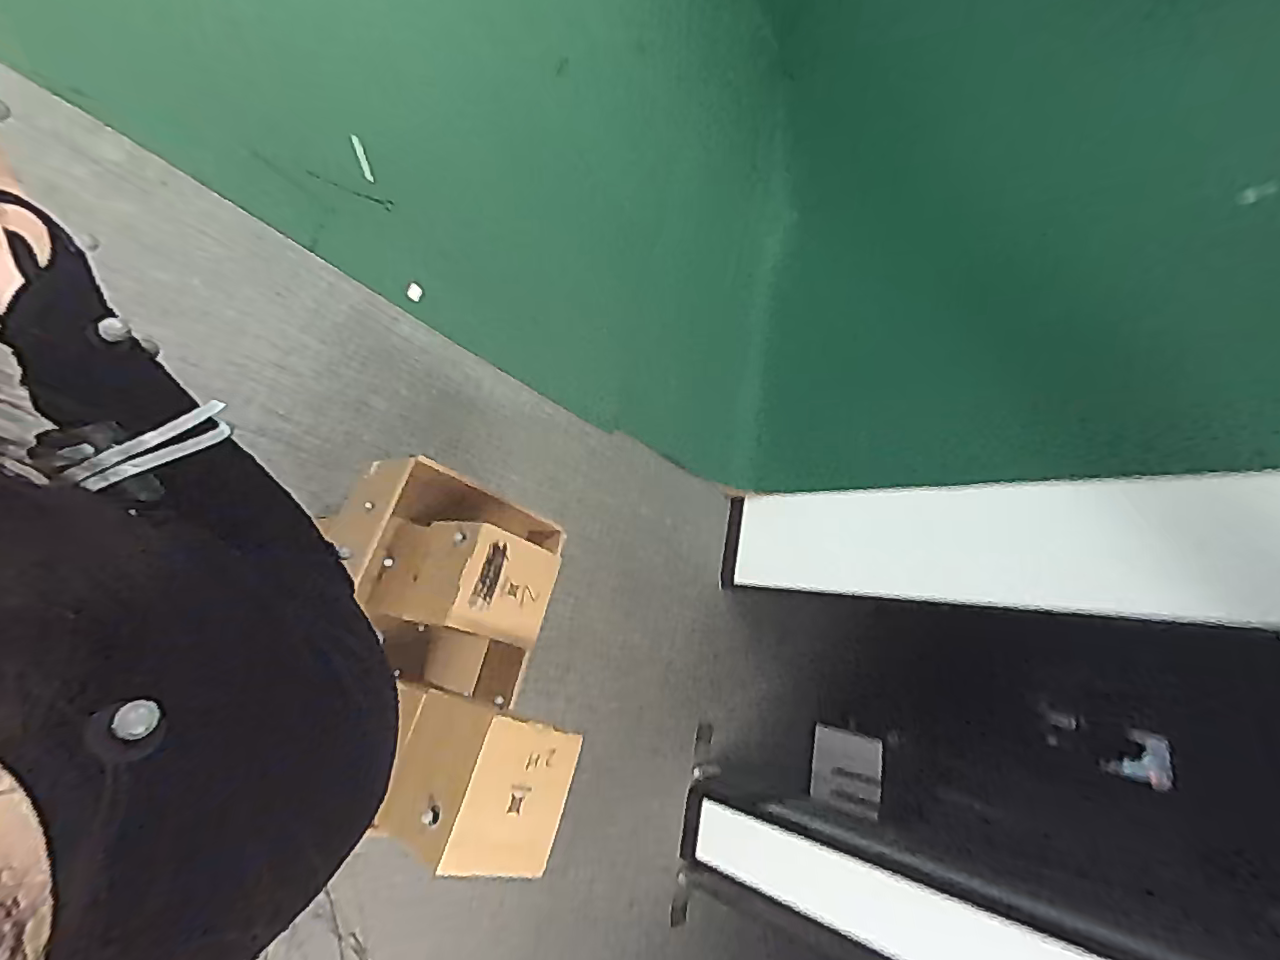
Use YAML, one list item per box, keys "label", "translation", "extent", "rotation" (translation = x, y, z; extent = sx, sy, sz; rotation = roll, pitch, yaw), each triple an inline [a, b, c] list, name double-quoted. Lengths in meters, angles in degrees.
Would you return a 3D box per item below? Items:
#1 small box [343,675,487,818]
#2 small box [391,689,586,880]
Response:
- label: "small box"
  translation: [-0.325, 0.419, 0.852]
  extent: [0.179, 0.176, 0.168]
  rotation: [36, 61, -38]
- label: "small box"
  translation: [-0.208, 0.406, 0.736]
  extent: [0.168, 0.176, 0.179]
  rotation: [38, 59, -38]
